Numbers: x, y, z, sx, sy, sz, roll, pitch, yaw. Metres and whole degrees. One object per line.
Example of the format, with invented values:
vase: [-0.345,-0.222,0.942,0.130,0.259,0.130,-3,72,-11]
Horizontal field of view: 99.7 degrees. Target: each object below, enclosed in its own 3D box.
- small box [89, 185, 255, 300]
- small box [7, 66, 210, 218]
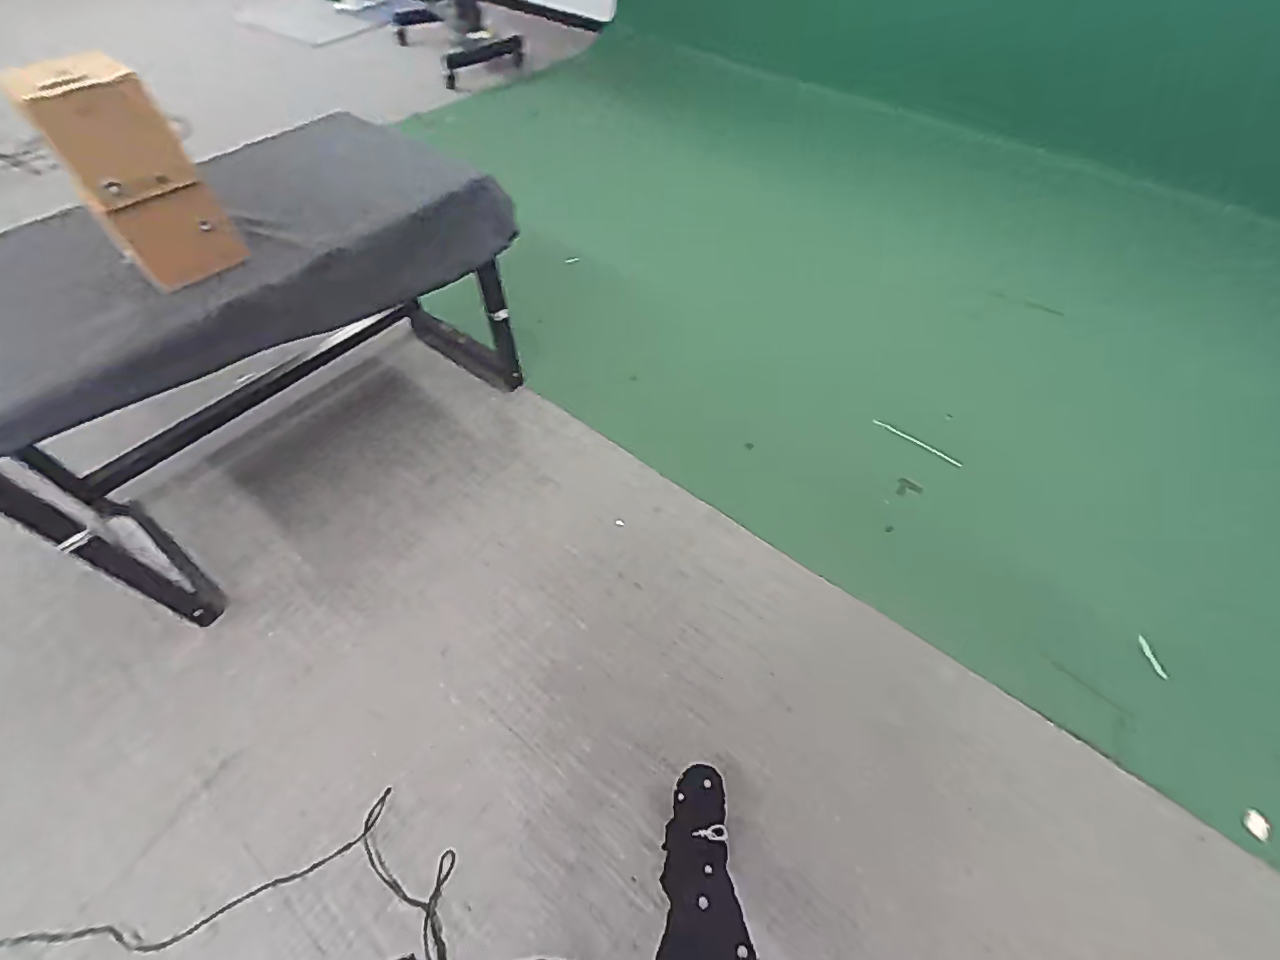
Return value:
small box: [-0.926,-0.498,1.091,0.168,0.176,0.179,35,61,24]
small box: [-0.923,-0.593,0.957,0.179,0.176,0.168,33,59,21]
